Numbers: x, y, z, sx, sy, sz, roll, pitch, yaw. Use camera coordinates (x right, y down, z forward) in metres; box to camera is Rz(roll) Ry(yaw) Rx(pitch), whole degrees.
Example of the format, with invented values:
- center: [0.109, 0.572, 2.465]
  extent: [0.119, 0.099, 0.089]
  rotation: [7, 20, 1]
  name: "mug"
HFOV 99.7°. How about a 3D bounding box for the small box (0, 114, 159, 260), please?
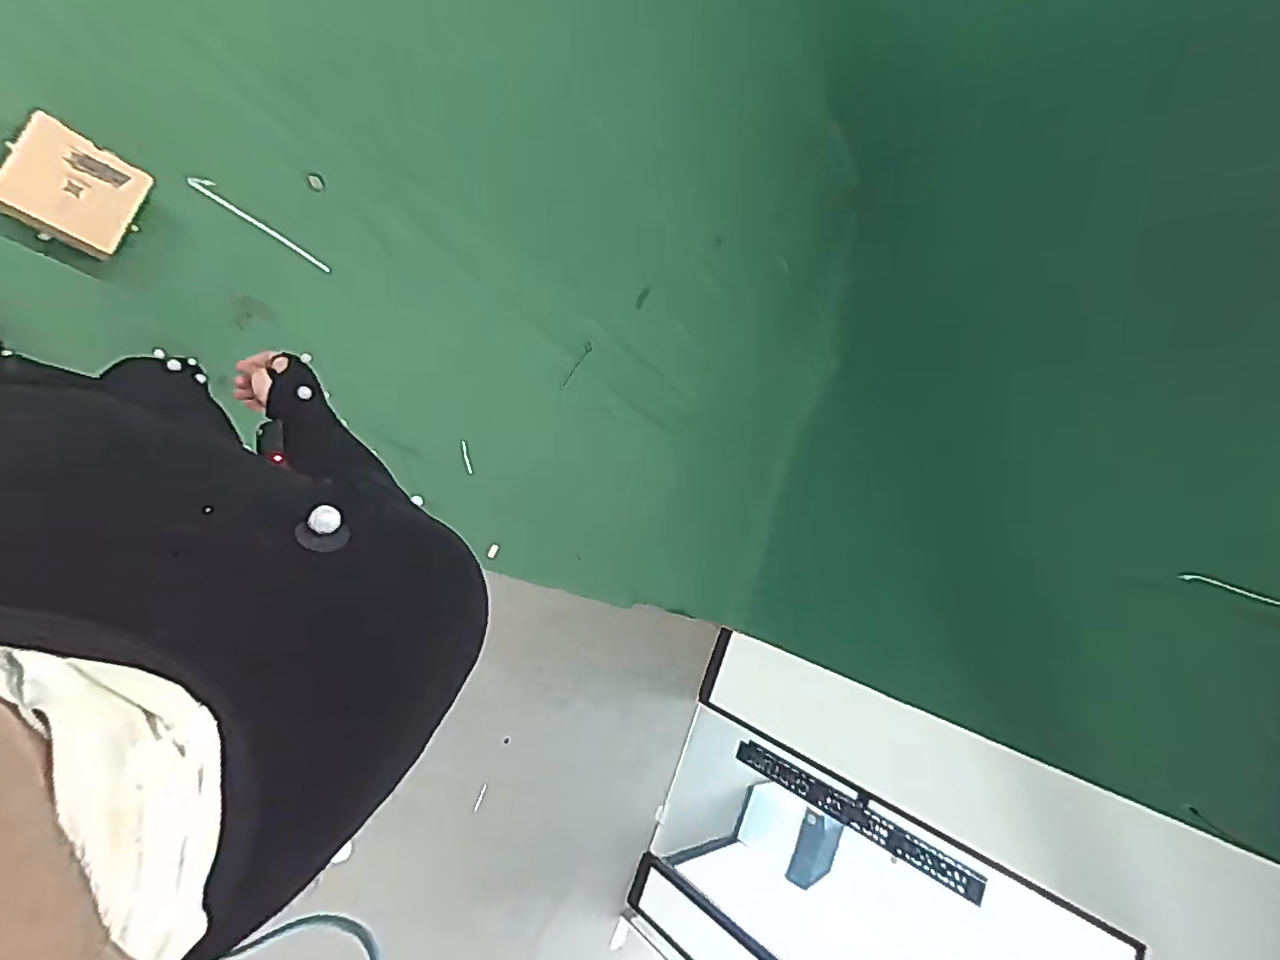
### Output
- center: [-1.080, -0.551, 1.041]
  extent: [0.168, 0.176, 0.179]
  rotation: [30, 79, -47]
  name: "small box"
